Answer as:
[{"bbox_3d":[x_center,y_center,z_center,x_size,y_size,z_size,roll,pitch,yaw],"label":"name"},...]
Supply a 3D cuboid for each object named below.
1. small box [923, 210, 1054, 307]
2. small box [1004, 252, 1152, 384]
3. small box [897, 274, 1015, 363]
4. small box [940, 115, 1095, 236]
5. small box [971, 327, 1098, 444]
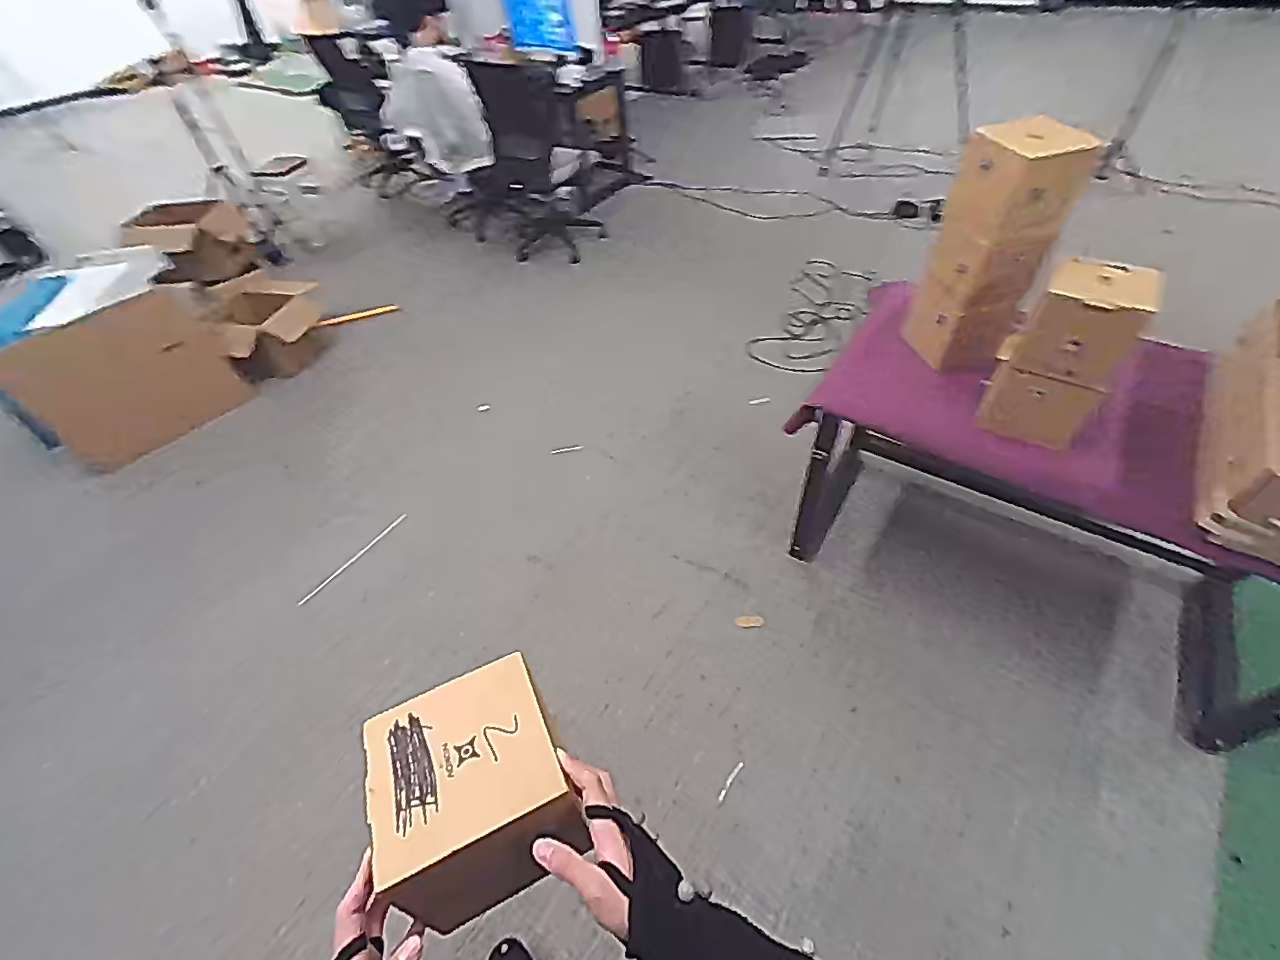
[{"bbox_3d":[0.785,-0.519,1.247,0.179,0.176,0.168,-12,51,-5],"label":"small box"},{"bbox_3d":[0.851,-0.316,1.063,0.168,0.176,0.179,25,55,24],"label":"small box"},{"bbox_3d":[0.789,-0.413,1.370,0.168,0.176,0.179,-12,50,-6],"label":"small box"},{"bbox_3d":[0.770,-0.627,1.127,0.168,0.176,0.179,-14,50,-6],"label":"small box"},{"bbox_3d":[0.859,-0.204,1.182,0.179,0.176,0.168,24,55,23],"label":"small box"}]
